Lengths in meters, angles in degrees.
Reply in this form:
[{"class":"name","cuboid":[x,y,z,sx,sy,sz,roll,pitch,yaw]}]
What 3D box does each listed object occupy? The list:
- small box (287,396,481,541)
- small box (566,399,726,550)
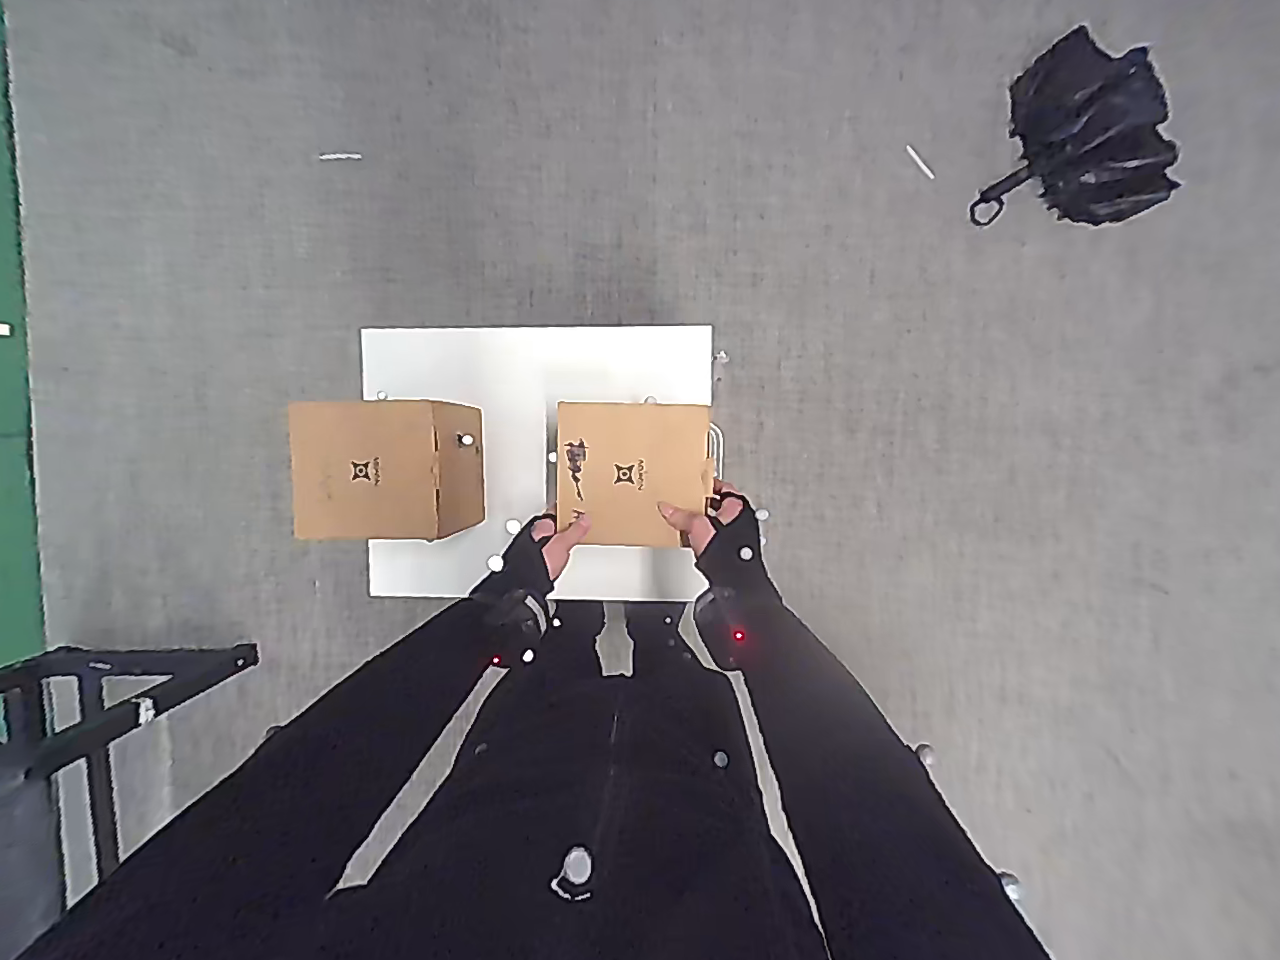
[{"class":"small box","cuboid":[-0.307,-0.016,0.686,0.179,0.176,0.168,-1,91,1]},{"class":"small box","cuboid":[0.006,-0.011,0.682,0.179,0.176,0.168,2,93,1]}]
